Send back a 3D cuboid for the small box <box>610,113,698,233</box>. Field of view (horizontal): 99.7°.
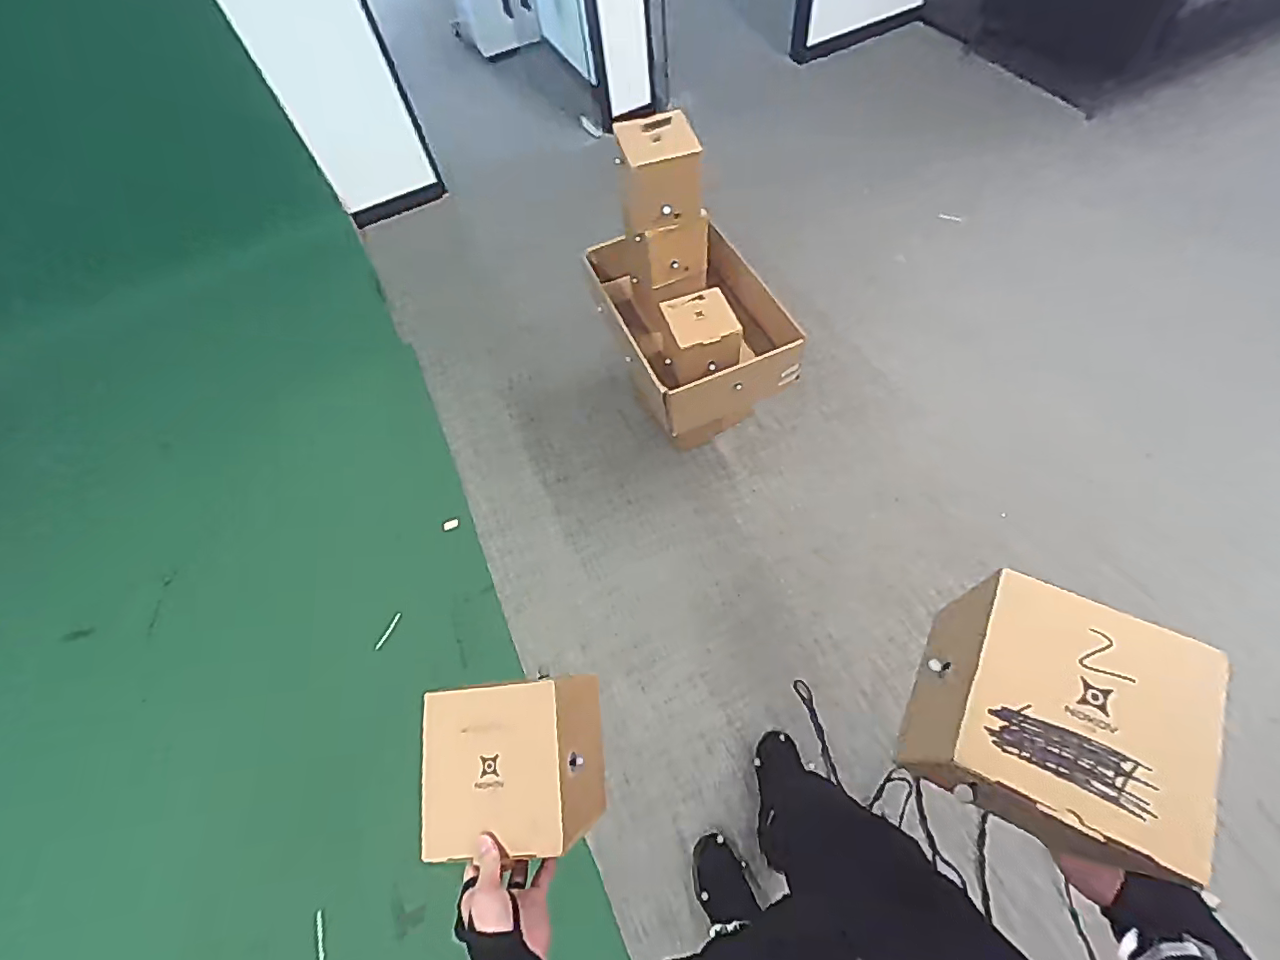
[{"bbox_3d":[0.033,-0.726,1.286,0.168,0.176,0.179,-15,62,-3],"label":"small box"}]

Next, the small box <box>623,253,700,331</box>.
[{"bbox_3d":[0.064,-0.569,1.571,0.168,0.176,0.179,-23,62,-7],"label":"small box"}]

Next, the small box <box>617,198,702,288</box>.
[{"bbox_3d":[0.051,-0.645,1.428,0.168,0.176,0.179,-23,62,-8],"label":"small box"}]
